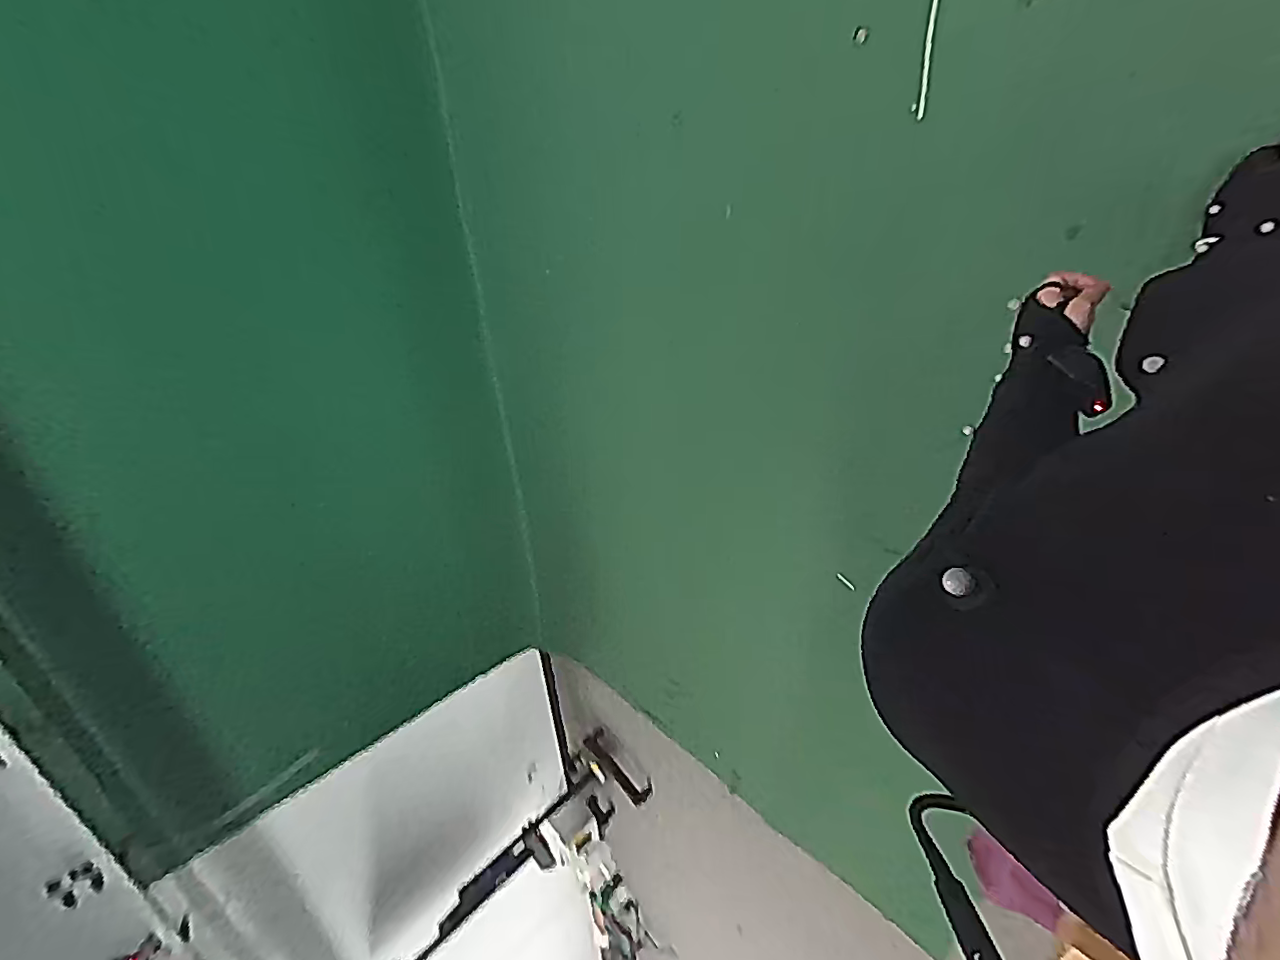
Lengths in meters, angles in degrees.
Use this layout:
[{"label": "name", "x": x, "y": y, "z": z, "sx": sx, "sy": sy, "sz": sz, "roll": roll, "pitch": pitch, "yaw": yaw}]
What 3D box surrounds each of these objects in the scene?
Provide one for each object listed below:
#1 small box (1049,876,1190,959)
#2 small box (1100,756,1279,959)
[{"label": "small box", "x": 0.795, "y": 0.816, "z": 0.888, "sx": 0.168, "sy": 0.176, "sz": 0.179, "roll": 23, "pitch": 126, "yaw": 40}, {"label": "small box", "x": 0.778, "y": 0.533, "z": 0.744, "sx": 0.168, "sy": 0.176, "sz": 0.179, "roll": 22, "pitch": 125, "yaw": 40}]
